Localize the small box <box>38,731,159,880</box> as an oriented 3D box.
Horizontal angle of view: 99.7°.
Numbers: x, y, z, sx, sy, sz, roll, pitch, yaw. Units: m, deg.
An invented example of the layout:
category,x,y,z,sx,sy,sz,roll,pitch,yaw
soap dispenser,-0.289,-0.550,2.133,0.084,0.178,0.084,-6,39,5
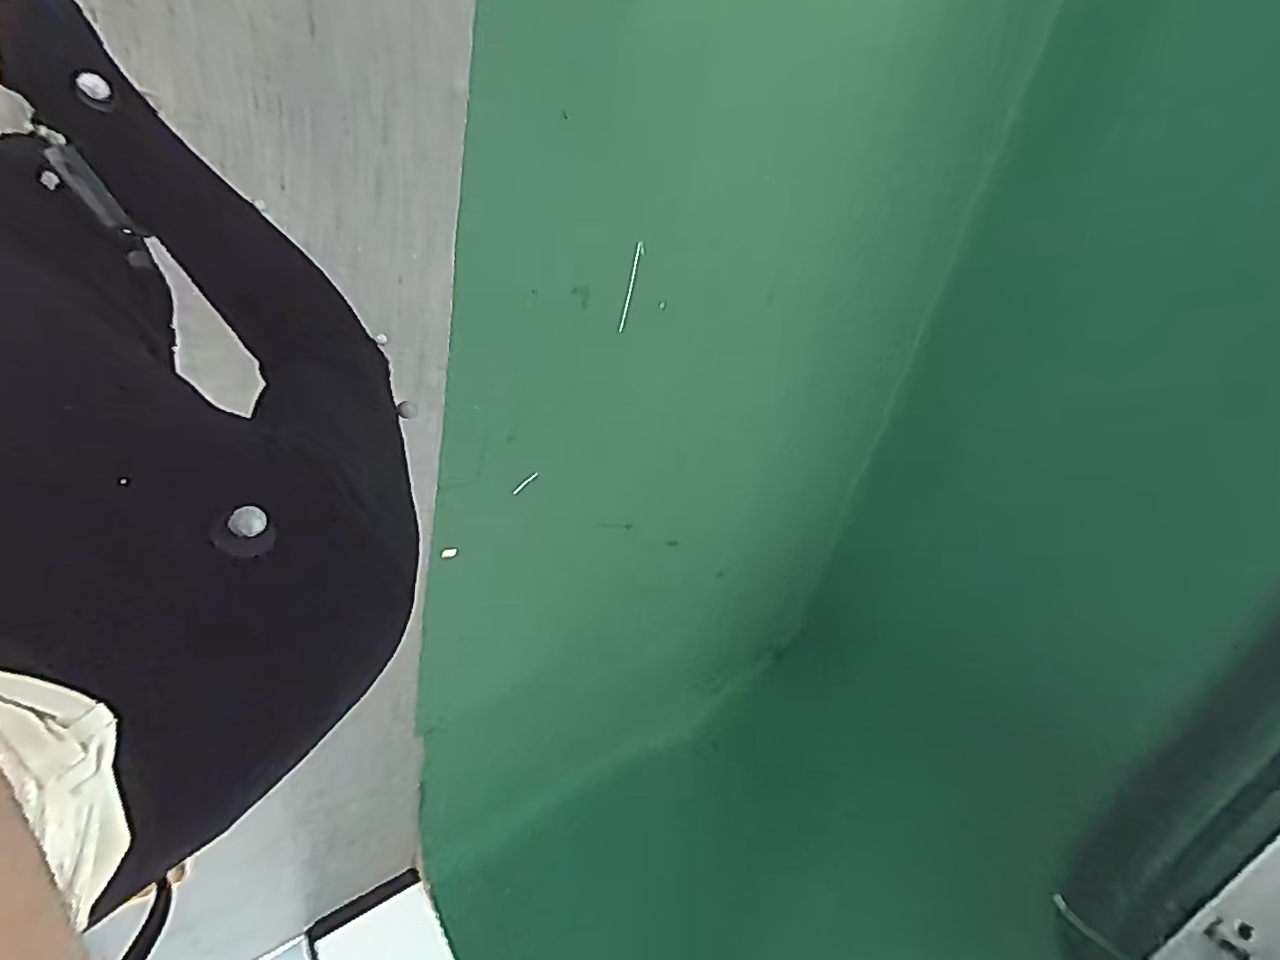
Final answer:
category,x,y,z,sx,sy,sz,roll,pitch,yaw
small box,-1.092,0.643,1.099,0.168,0.176,0.179,0,116,-42
